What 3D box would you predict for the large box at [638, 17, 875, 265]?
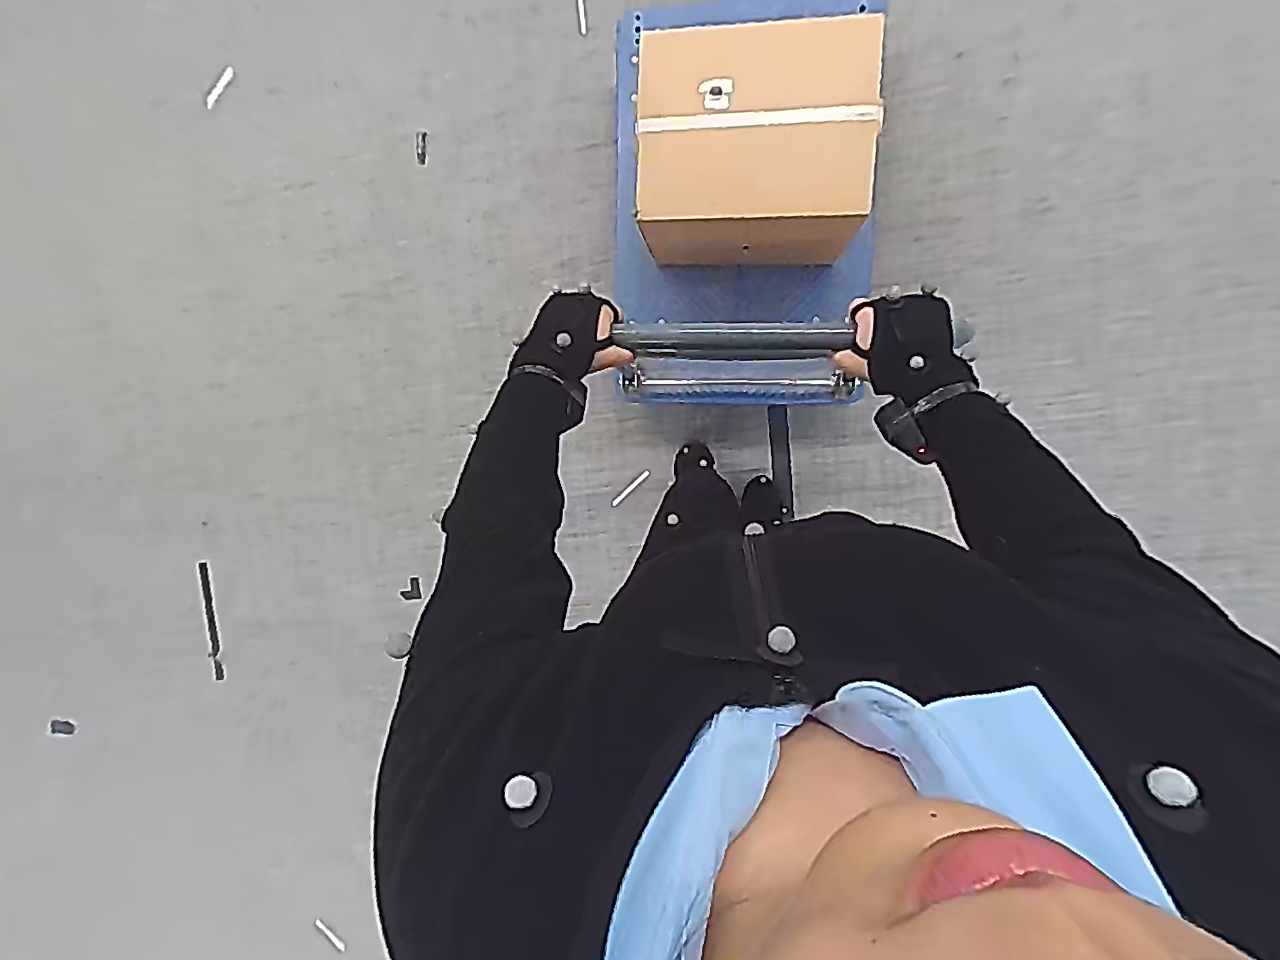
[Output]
[{"bbox_3d":[0.220,-0.634,1.085,0.408,0.320,0.320,2,96,10],"label":"large box"}]
